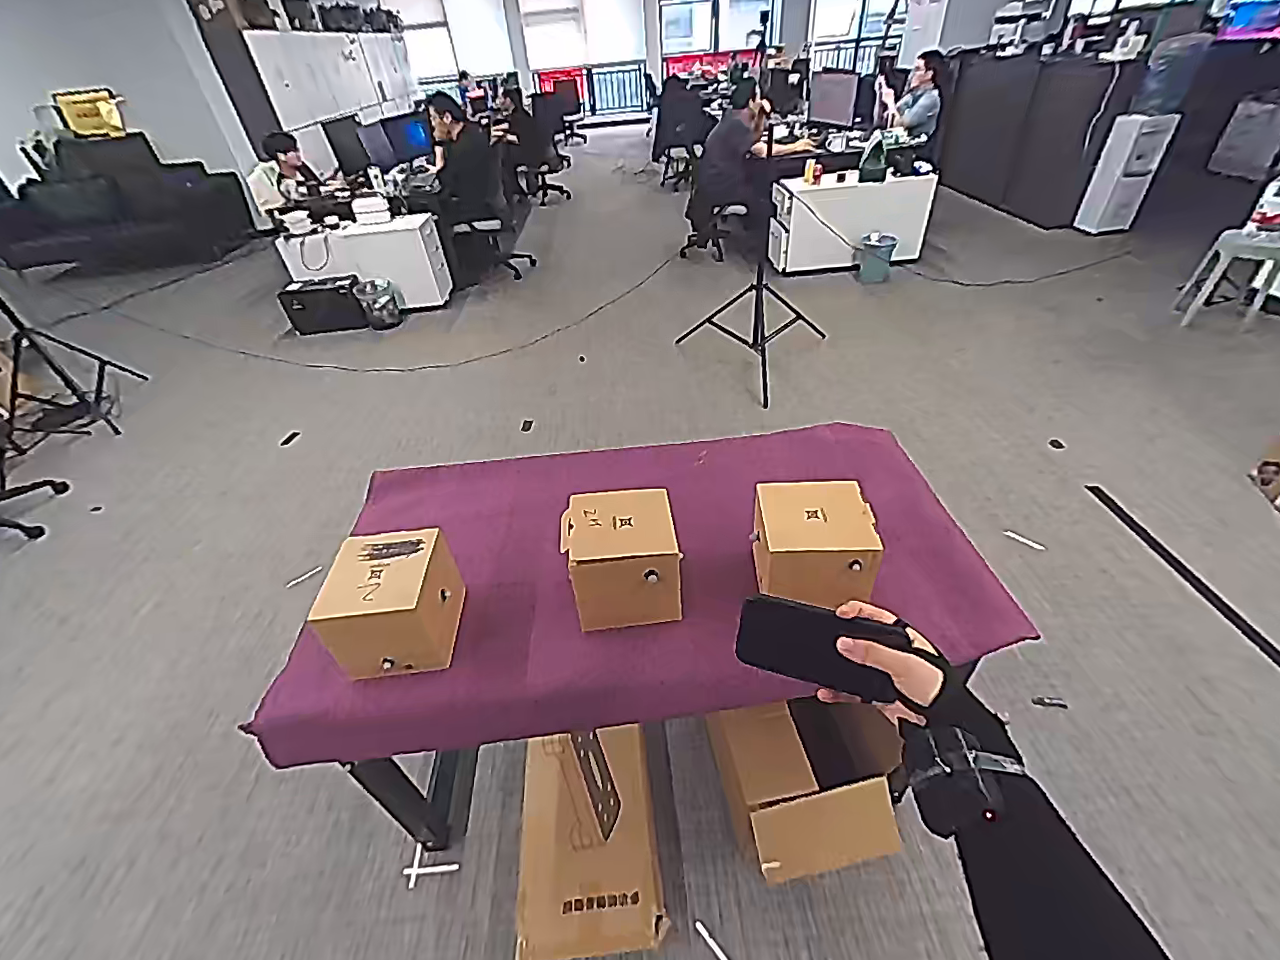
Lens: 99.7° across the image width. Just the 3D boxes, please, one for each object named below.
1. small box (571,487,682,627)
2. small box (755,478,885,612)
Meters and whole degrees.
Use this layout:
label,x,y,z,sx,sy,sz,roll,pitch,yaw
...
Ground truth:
label,x,y,z,sx,sy,sz,roll,pitch,yaw
small box,-0.021,0.135,0.947,0.179,0.176,0.168,-7,37,-1
small box,0.296,0.114,0.935,0.179,0.176,0.168,-2,40,4
